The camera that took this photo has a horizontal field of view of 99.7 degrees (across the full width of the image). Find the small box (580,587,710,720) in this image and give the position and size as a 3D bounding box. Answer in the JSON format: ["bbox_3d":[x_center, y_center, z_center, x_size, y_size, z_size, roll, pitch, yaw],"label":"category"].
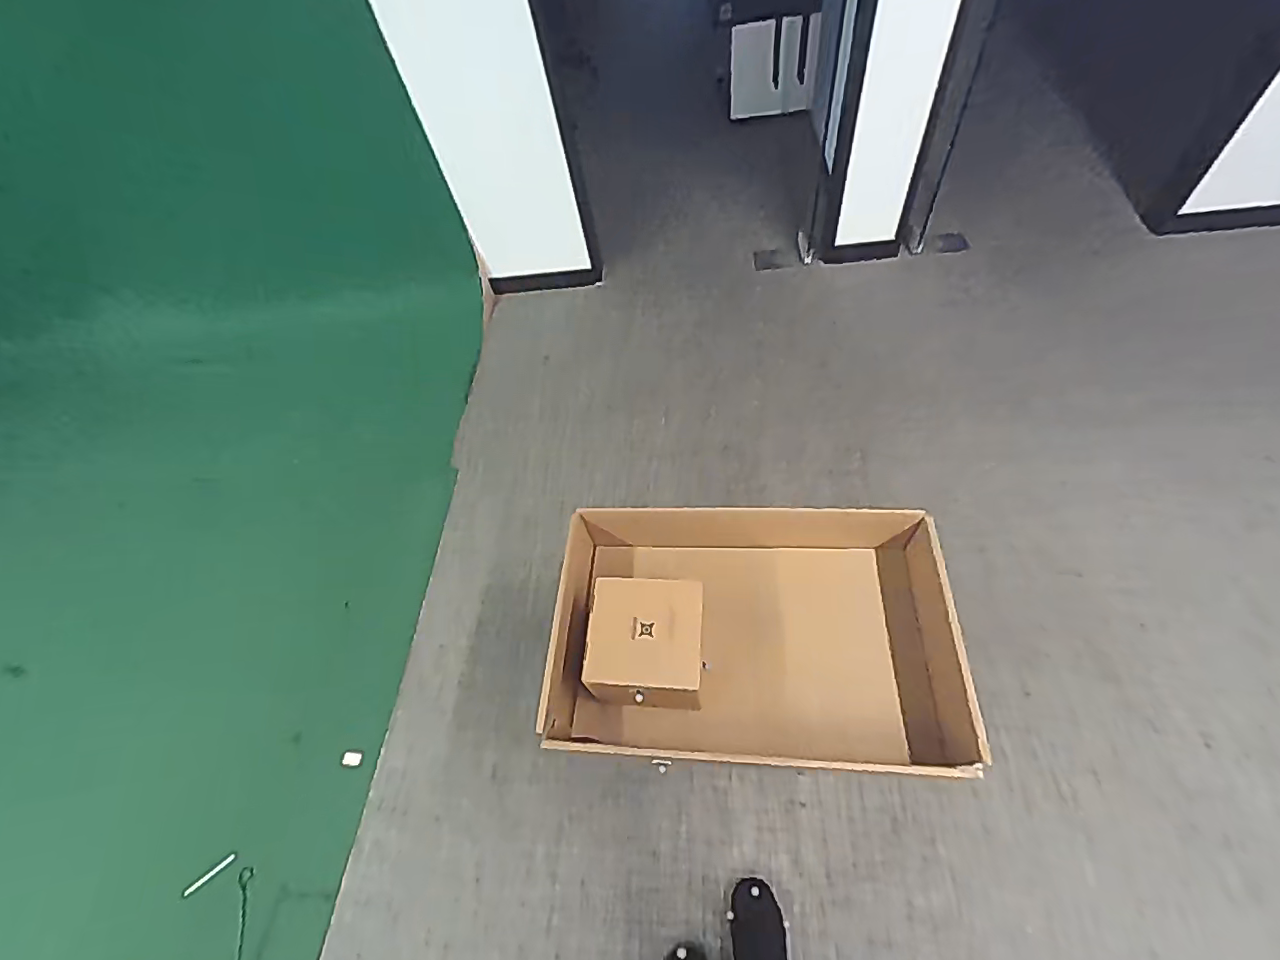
[{"bbox_3d":[0.018,0.286,0.881,0.179,0.176,0.168,0,57,11],"label":"small box"}]
